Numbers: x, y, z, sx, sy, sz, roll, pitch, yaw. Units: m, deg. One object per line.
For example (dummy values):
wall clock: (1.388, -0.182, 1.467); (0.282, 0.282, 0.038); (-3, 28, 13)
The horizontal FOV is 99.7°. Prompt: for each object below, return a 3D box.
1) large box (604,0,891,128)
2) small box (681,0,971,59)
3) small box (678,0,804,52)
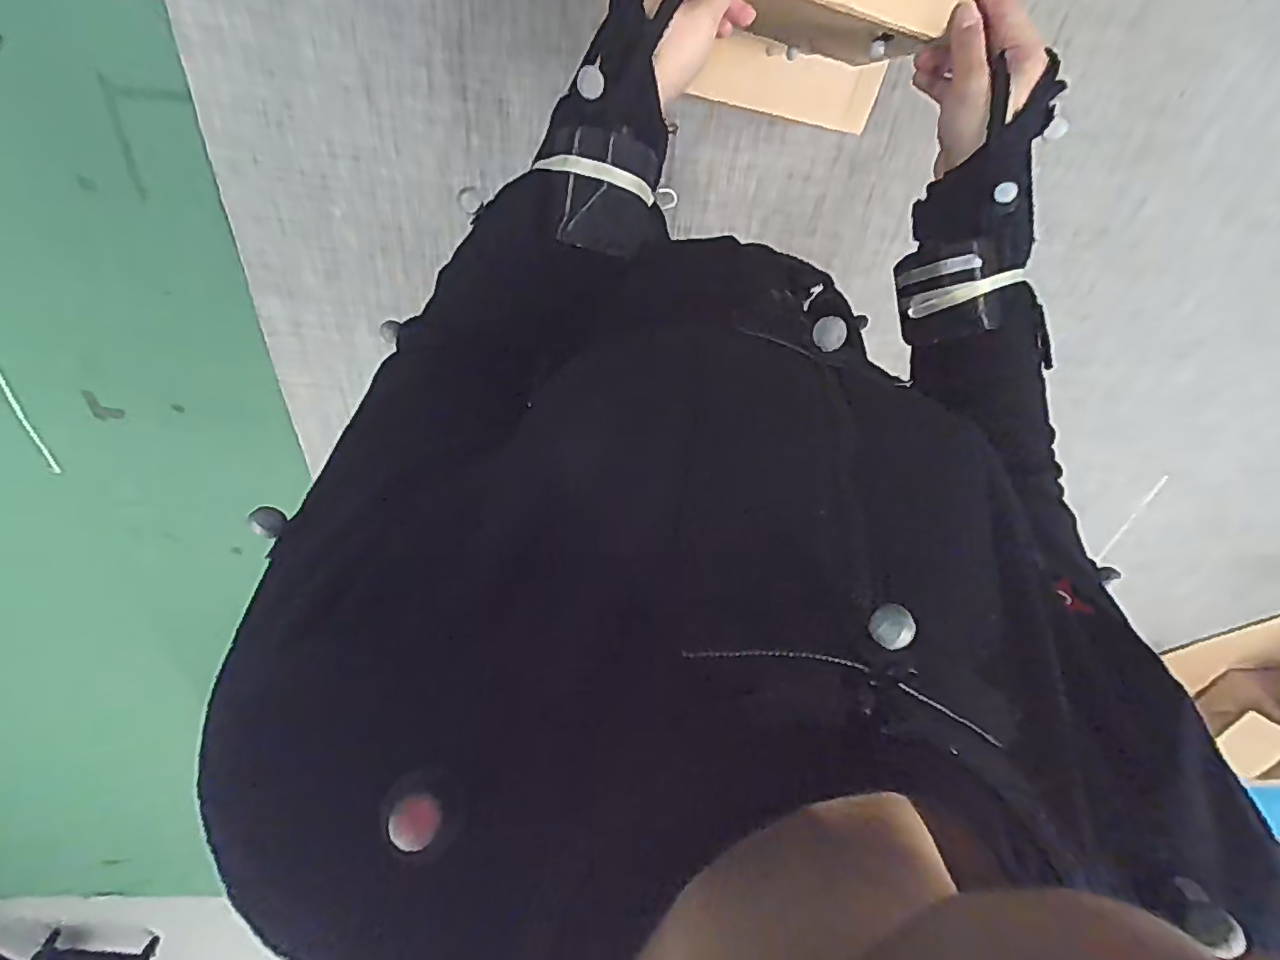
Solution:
large box: (0.161, -0.766, 0.829); (0.408, 0.320, 0.320); (7, 126, -9)
small box: (0.135, -0.413, 0.370); (0.179, 0.176, 0.168); (7, 122, -11)
small box: (0.136, -0.523, 0.500); (0.168, 0.176, 0.179); (6, 124, -10)
